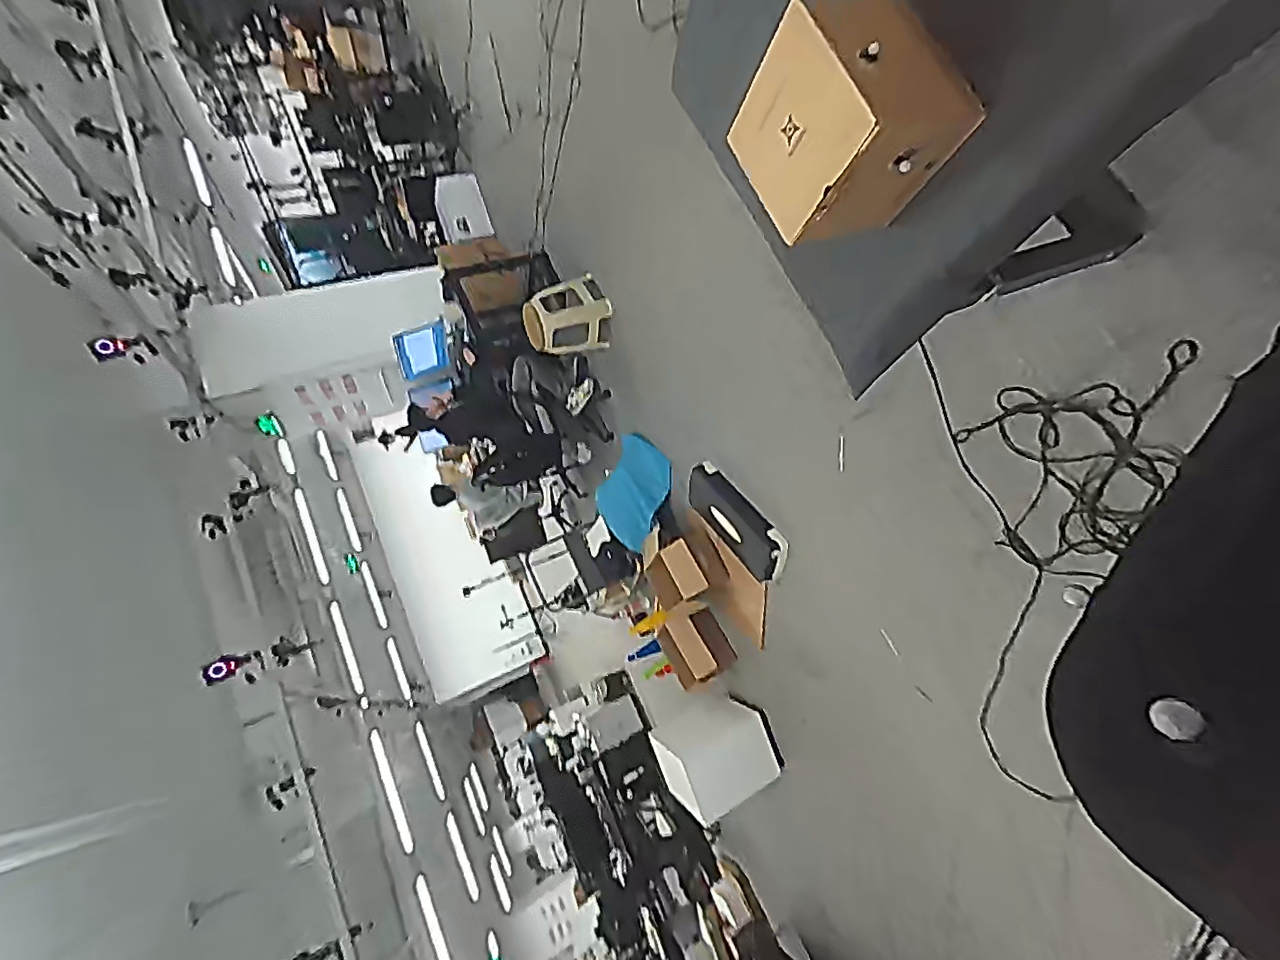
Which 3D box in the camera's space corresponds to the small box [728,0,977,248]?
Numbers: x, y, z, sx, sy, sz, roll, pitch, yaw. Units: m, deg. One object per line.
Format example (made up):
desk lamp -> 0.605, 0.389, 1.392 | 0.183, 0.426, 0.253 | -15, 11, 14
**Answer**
small box -> 0.237, -0.405, 0.624 | 0.179, 0.176, 0.168 | 66, 157, 12
